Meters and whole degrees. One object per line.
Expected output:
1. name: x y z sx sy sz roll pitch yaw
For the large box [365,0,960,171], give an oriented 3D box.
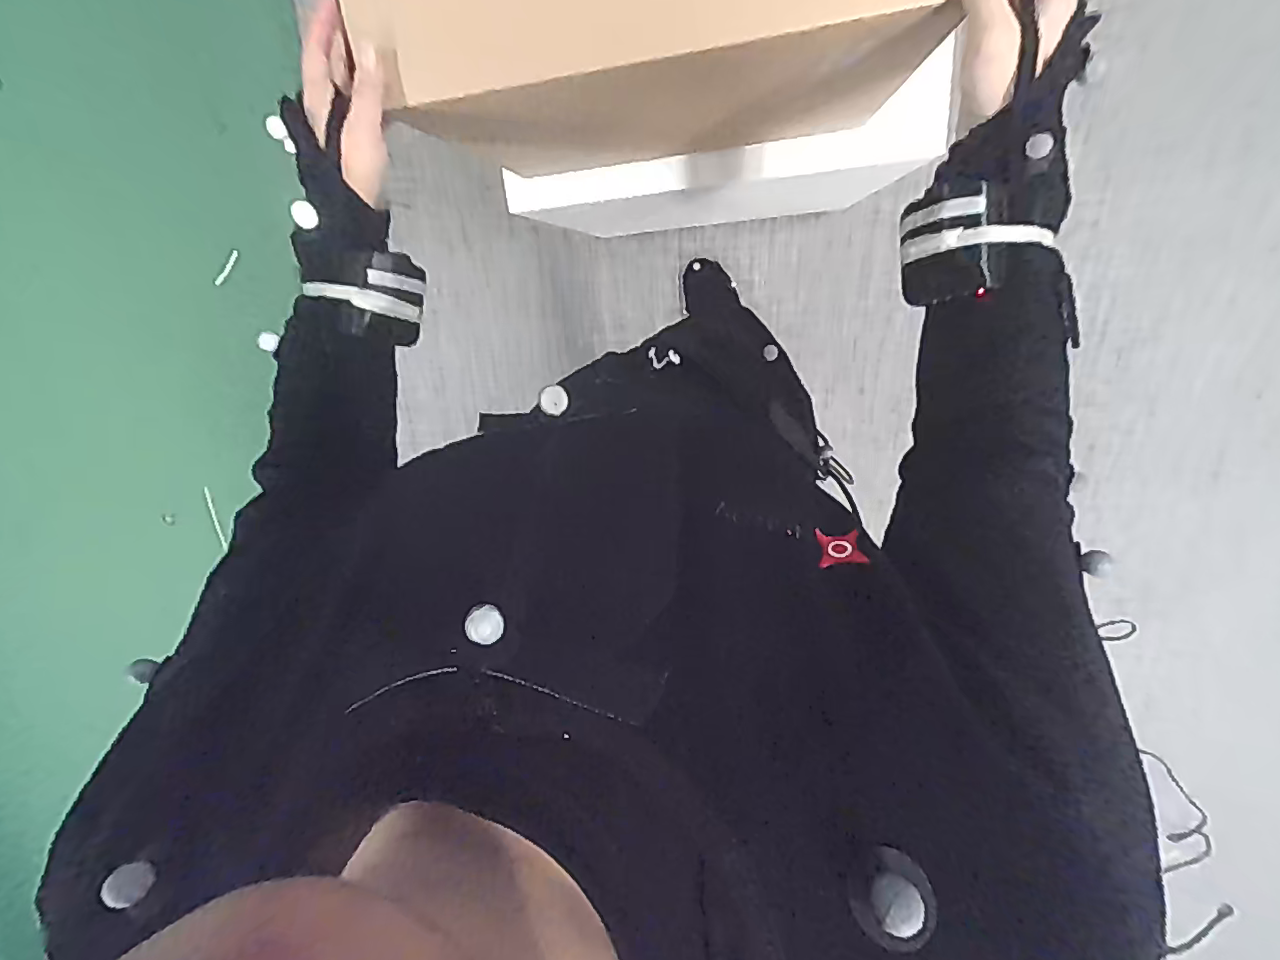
1. large box: 0.014 -0.478 0.439 0.408 0.320 0.320 -4 111 9
